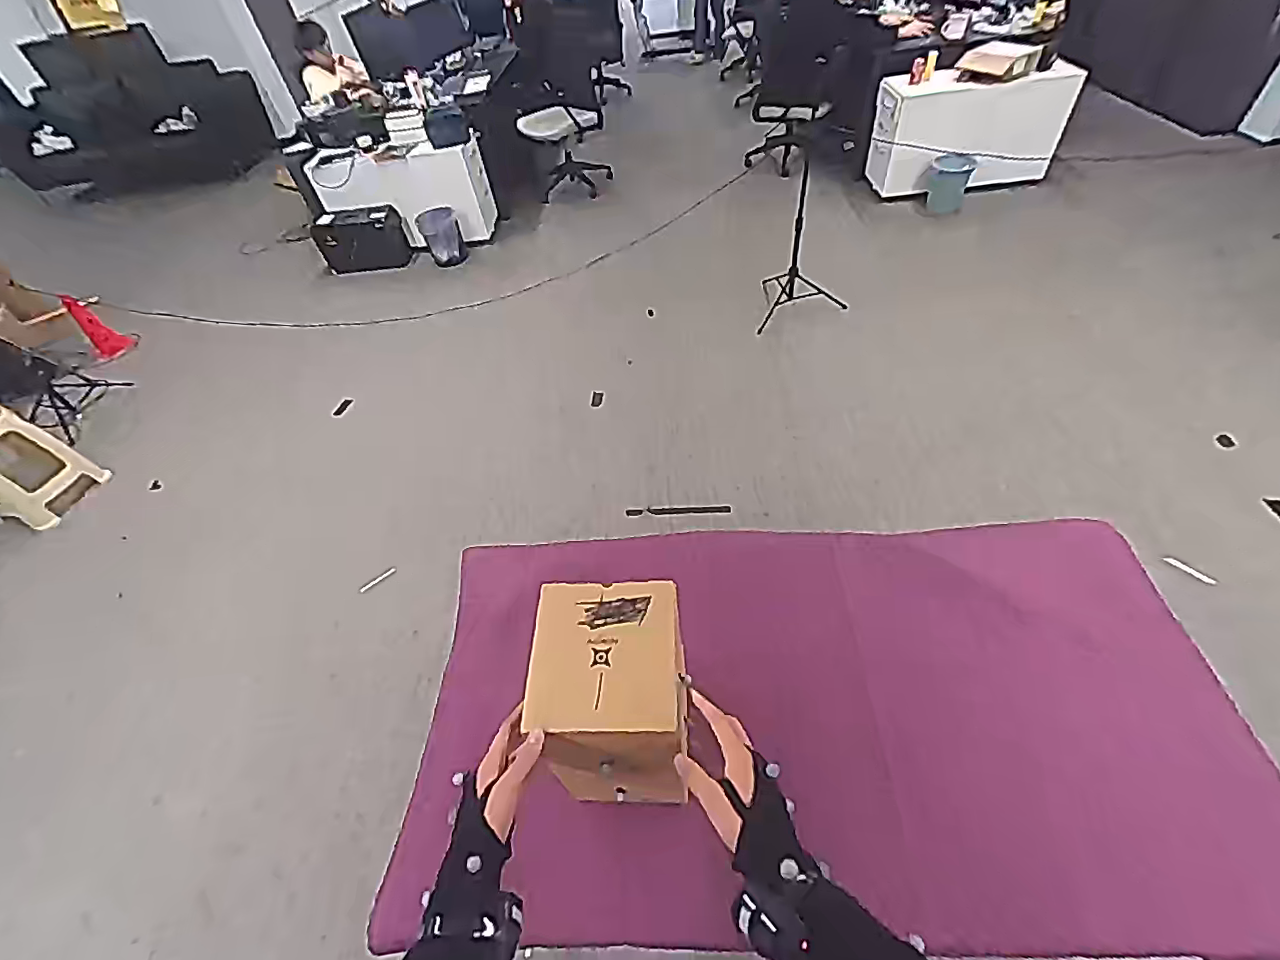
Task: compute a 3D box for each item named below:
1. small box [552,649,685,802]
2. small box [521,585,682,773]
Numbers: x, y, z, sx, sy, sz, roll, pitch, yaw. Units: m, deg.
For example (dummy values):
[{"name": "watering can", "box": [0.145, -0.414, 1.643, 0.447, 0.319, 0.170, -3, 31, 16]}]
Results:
[{"name": "small box", "box": [-0.019, 0.356, 0.790, 0.168, 0.176, 0.179, -1, 49, 6]}, {"name": "small box", "box": [-0.034, 0.247, 0.669, 0.168, 0.176, 0.179, -3, 50, 5]}]
